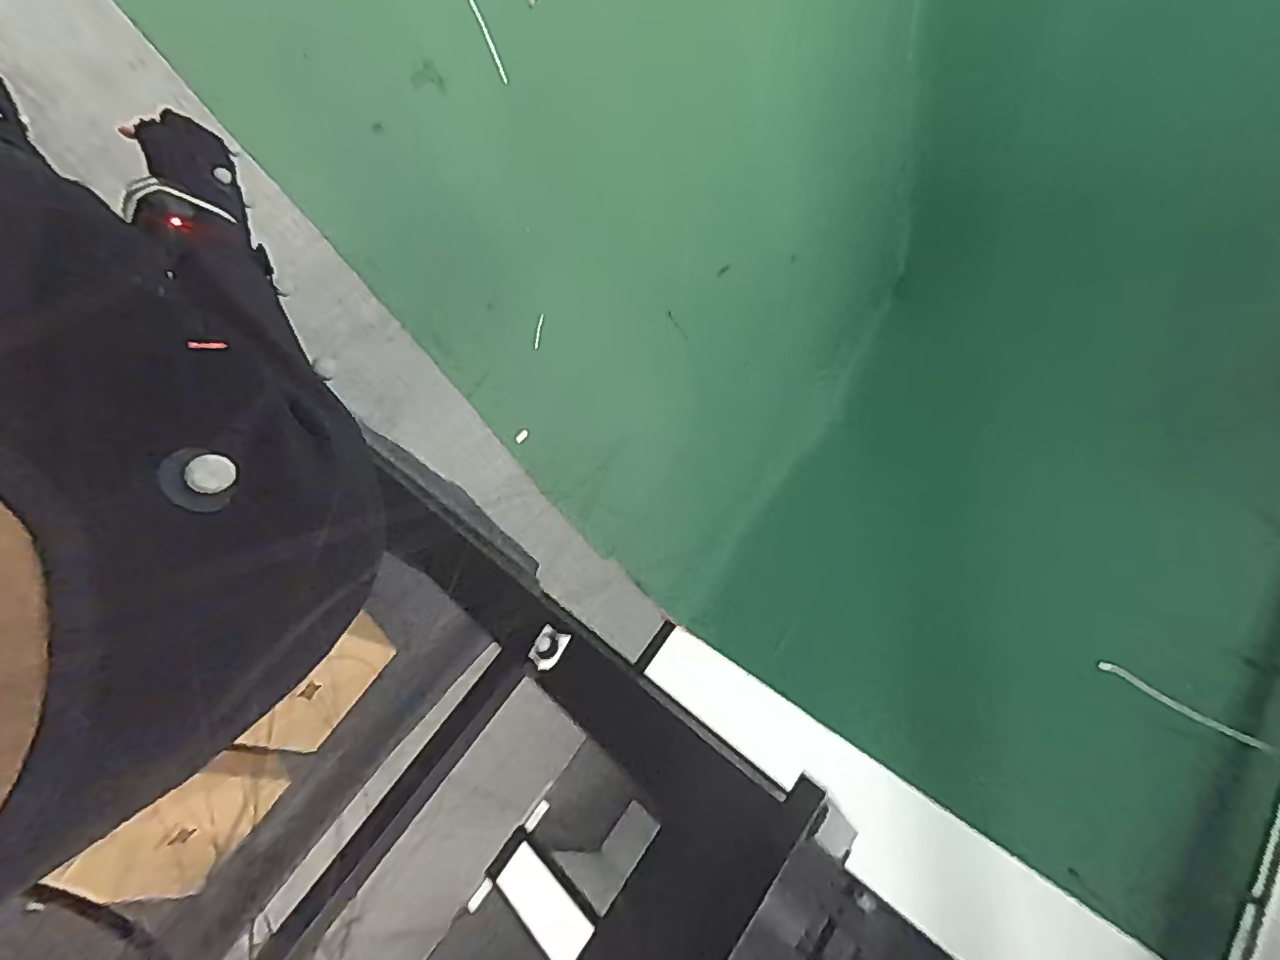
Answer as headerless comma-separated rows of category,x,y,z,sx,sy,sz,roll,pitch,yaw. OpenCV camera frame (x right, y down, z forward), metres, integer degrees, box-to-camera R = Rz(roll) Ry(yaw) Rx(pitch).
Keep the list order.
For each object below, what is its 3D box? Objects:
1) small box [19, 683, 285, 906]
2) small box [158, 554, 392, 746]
small box,-0.609,0.383,0.684,0.168,0.176,0.179,-54,145,-13
small box,-0.486,0.225,0.729,0.168,0.176,0.179,-53,144,-13
